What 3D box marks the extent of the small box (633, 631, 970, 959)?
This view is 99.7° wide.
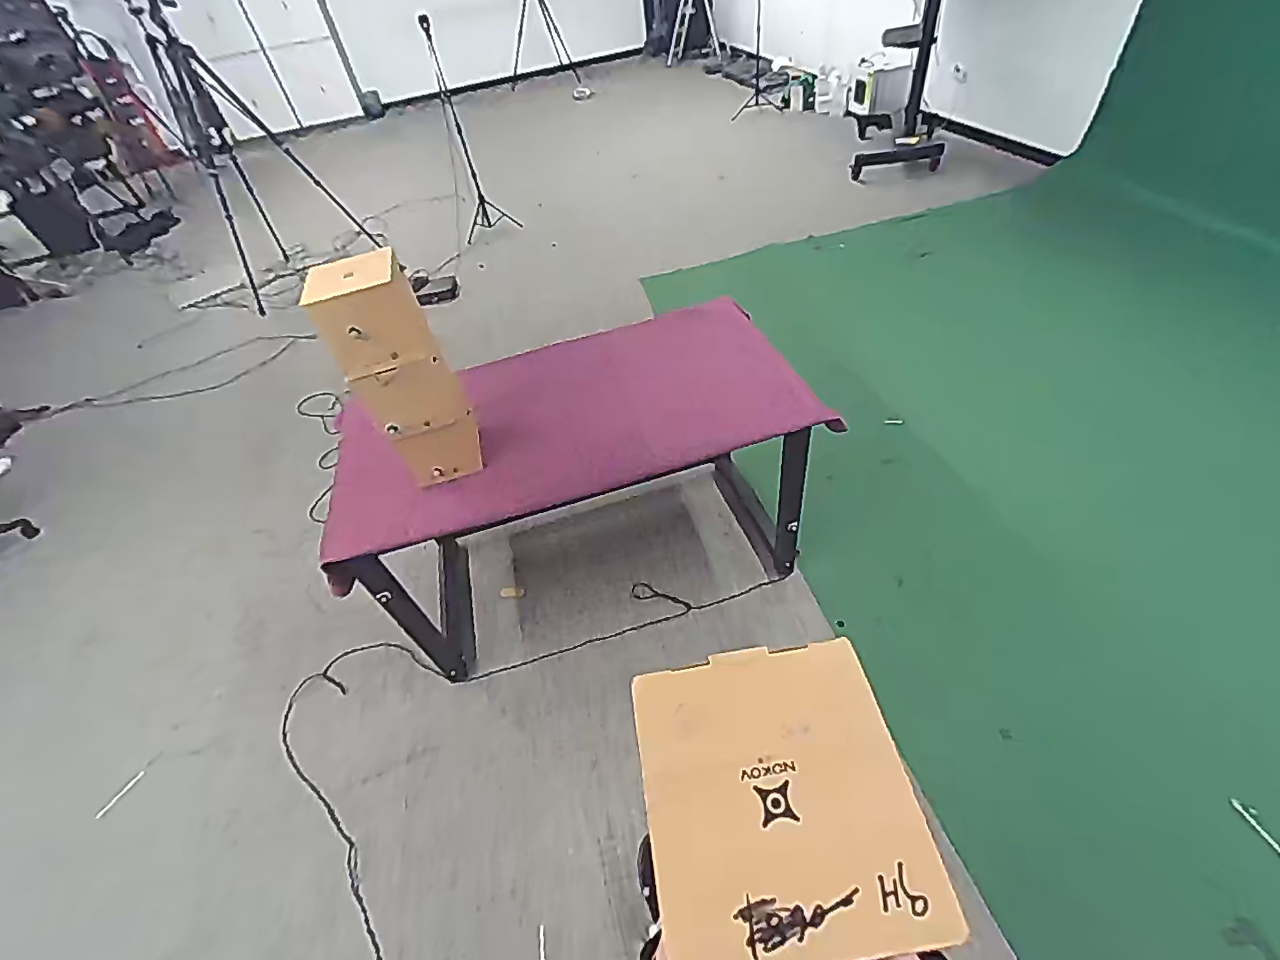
[{"bbox_3d":[0.093,0.238,0.397,0.168,0.176,0.179,-11,49,1],"label":"small box"}]

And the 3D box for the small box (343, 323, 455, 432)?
[{"bbox_3d":[-0.512,-0.223,1.173,0.168,0.176,0.179,-17,45,-5],"label":"small box"}]

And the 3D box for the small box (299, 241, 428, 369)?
[{"bbox_3d":[-0.527,-0.334,1.056,0.168,0.176,0.179,-19,46,-7],"label":"small box"}]

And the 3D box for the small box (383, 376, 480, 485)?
[{"bbox_3d":[-0.493,-0.118,1.297,0.168,0.176,0.179,-17,47,-6],"label":"small box"}]
